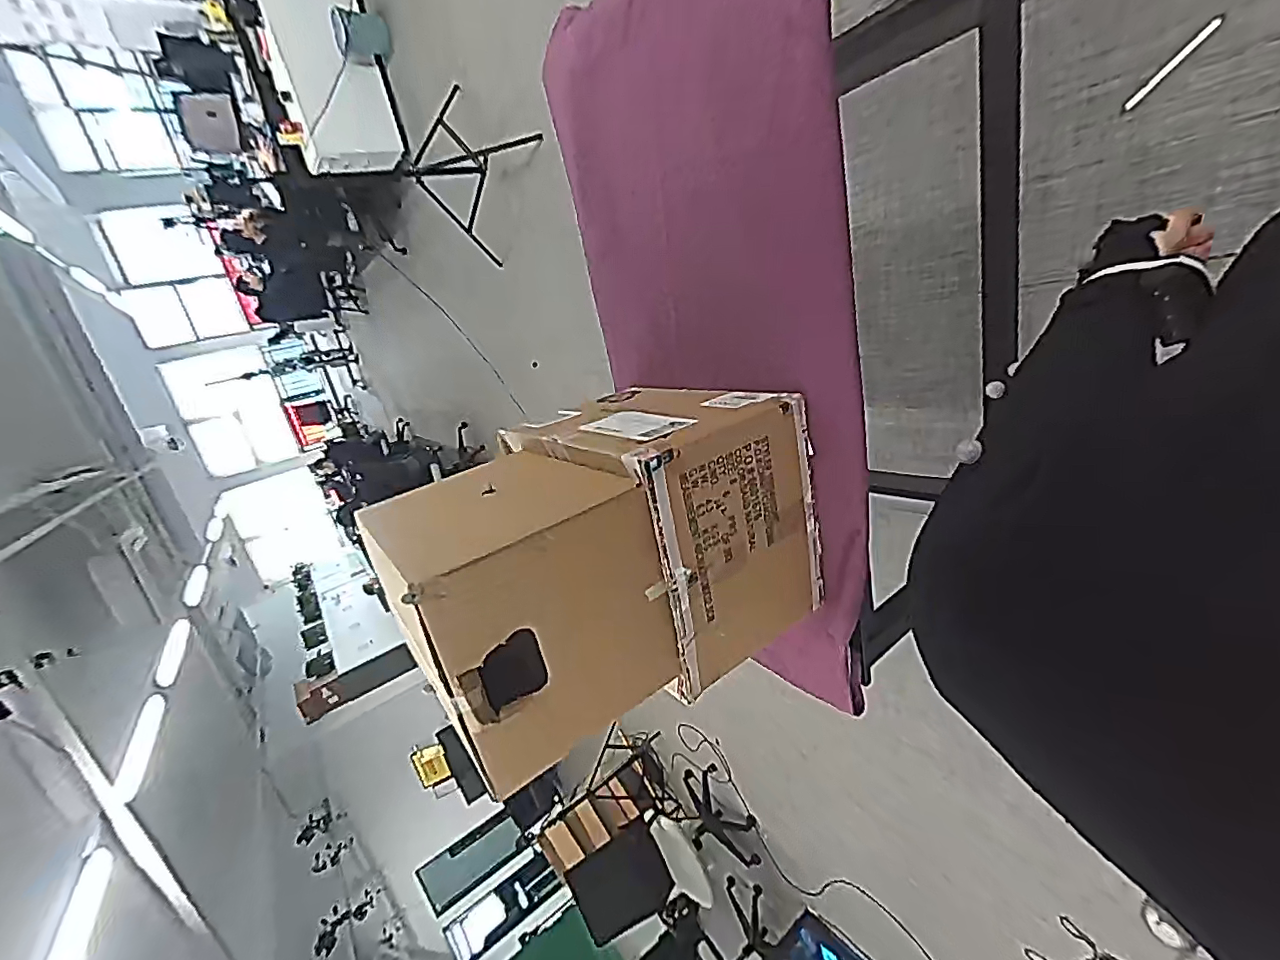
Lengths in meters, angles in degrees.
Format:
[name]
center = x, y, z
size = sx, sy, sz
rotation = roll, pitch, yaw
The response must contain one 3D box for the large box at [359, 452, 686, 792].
[large box]
center = -0.191, 0.158, 0.832
size = 0.408, 0.320, 0.320
rotation = 13, 122, 54
